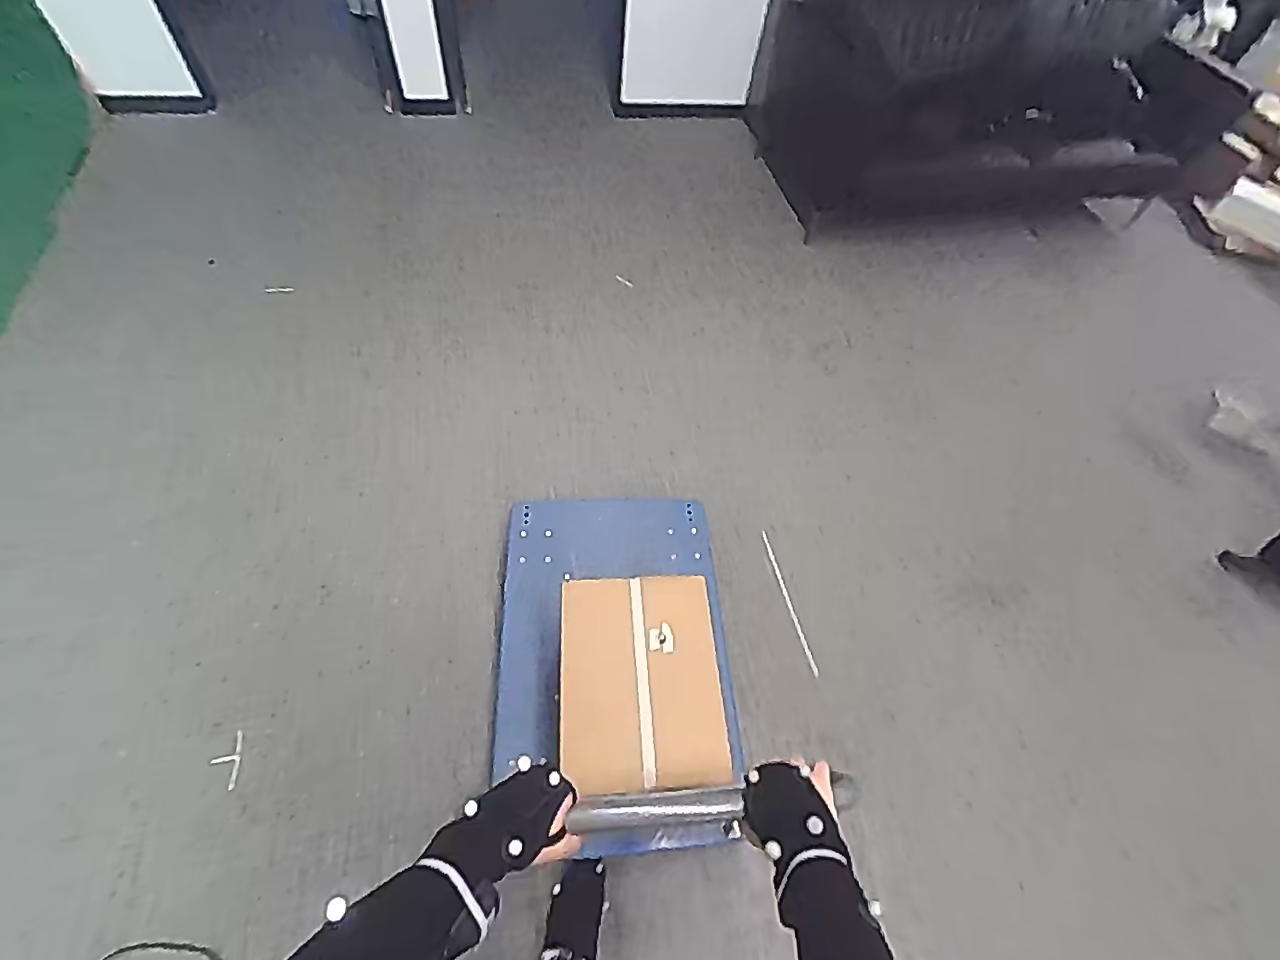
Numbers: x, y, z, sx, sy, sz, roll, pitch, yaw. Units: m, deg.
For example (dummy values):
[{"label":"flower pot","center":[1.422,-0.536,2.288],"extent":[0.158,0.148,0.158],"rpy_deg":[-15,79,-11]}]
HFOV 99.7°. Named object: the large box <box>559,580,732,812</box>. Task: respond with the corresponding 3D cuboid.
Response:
[{"label":"large box","center":[-0.016,0.472,1.185],"extent":[0.320,0.320,0.408],"rpy_deg":[0,56,-8]}]
